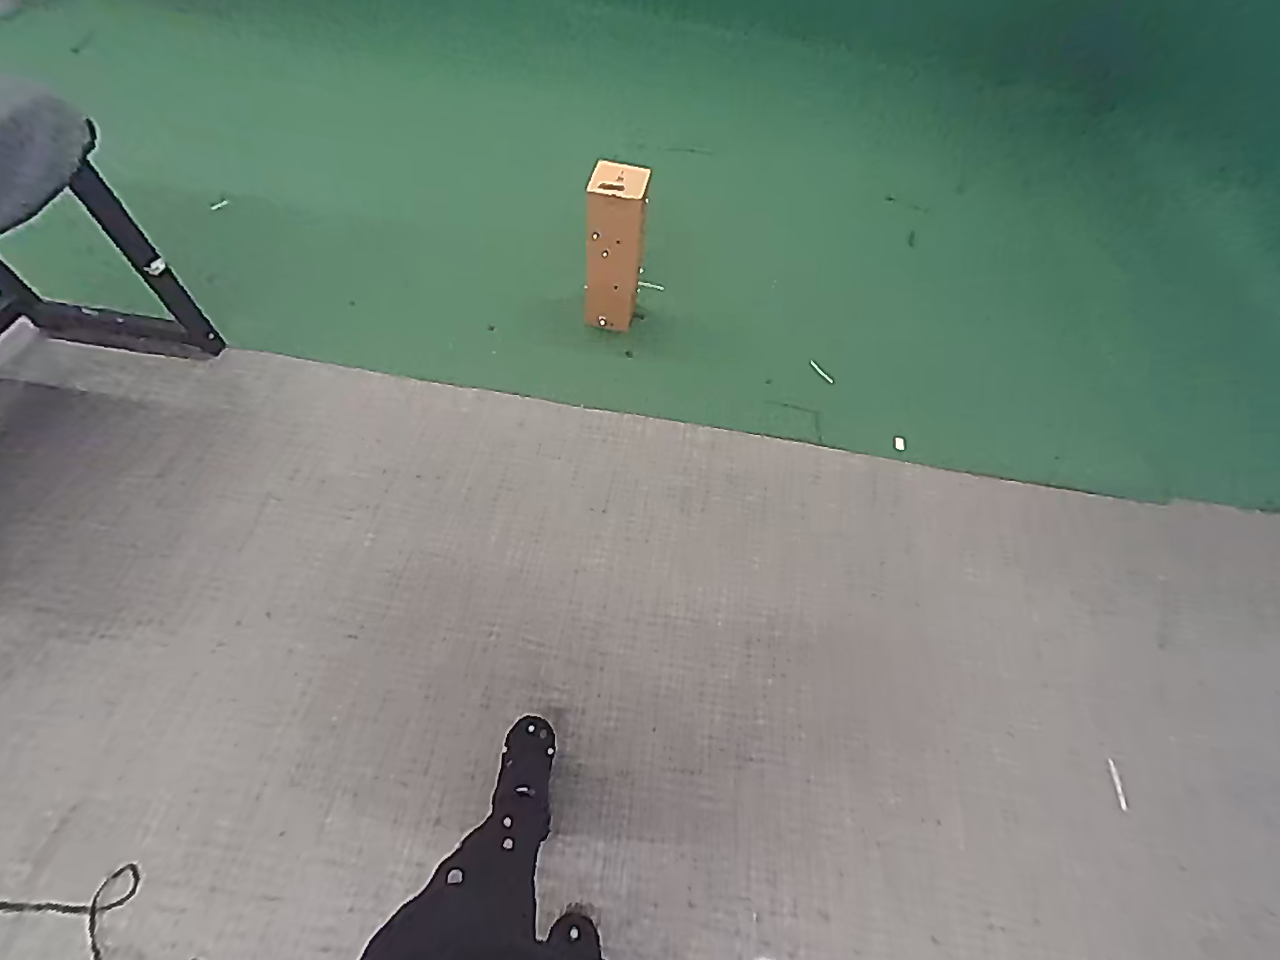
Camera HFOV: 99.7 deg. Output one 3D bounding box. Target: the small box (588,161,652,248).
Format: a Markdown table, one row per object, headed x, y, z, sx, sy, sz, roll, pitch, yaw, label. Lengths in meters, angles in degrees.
| x | y | z | sx | sy | sz | roll | pitch | yaw | label |
| --- | --- | --- | --- | --- | --- | --- | --- | --- | --- |
| -0.063 | -0.851 | 1.679 | 0.168 | 0.176 | 0.179 | 12 | 57 | 1 | small box |

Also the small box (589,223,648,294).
| x | y | z | sx | sy | sz | roll | pitch | yaw | label |
| --- | --- | --- | --- | --- | --- | --- | --- | --- | --- |
| -0.075 | -0.758 | 1.815 | 0.168 | 0.176 | 0.179 | 12 | 57 | 2 | small box |

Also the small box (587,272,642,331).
| x | y | z | sx | sy | sz | roll | pitch | yaw | label |
| --- | --- | --- | --- | --- | --- | --- | --- | --- | --- |
| -0.094 | -0.669 | 1.951 | 0.168 | 0.176 | 0.179 | 11 | 59 | 1 | small box |
